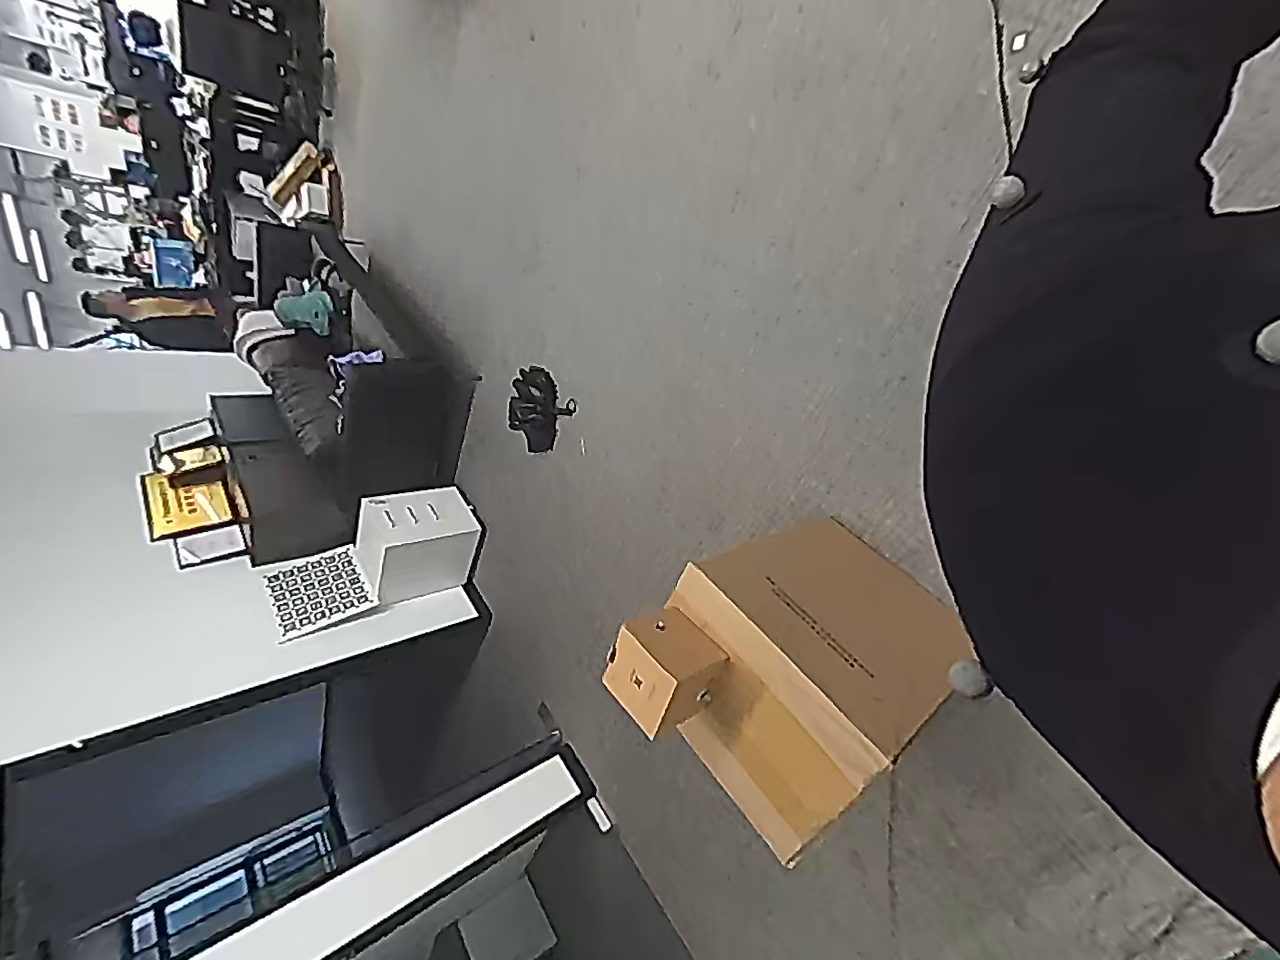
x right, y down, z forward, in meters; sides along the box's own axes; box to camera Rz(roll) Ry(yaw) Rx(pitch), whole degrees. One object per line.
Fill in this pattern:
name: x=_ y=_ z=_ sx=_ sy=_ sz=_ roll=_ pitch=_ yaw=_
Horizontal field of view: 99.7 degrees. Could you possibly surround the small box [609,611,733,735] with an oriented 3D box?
small box: x=0.066 y=0.403 z=1.171 sx=0.179 sy=0.176 sz=0.168 roll=36 pitch=119 yaw=37
